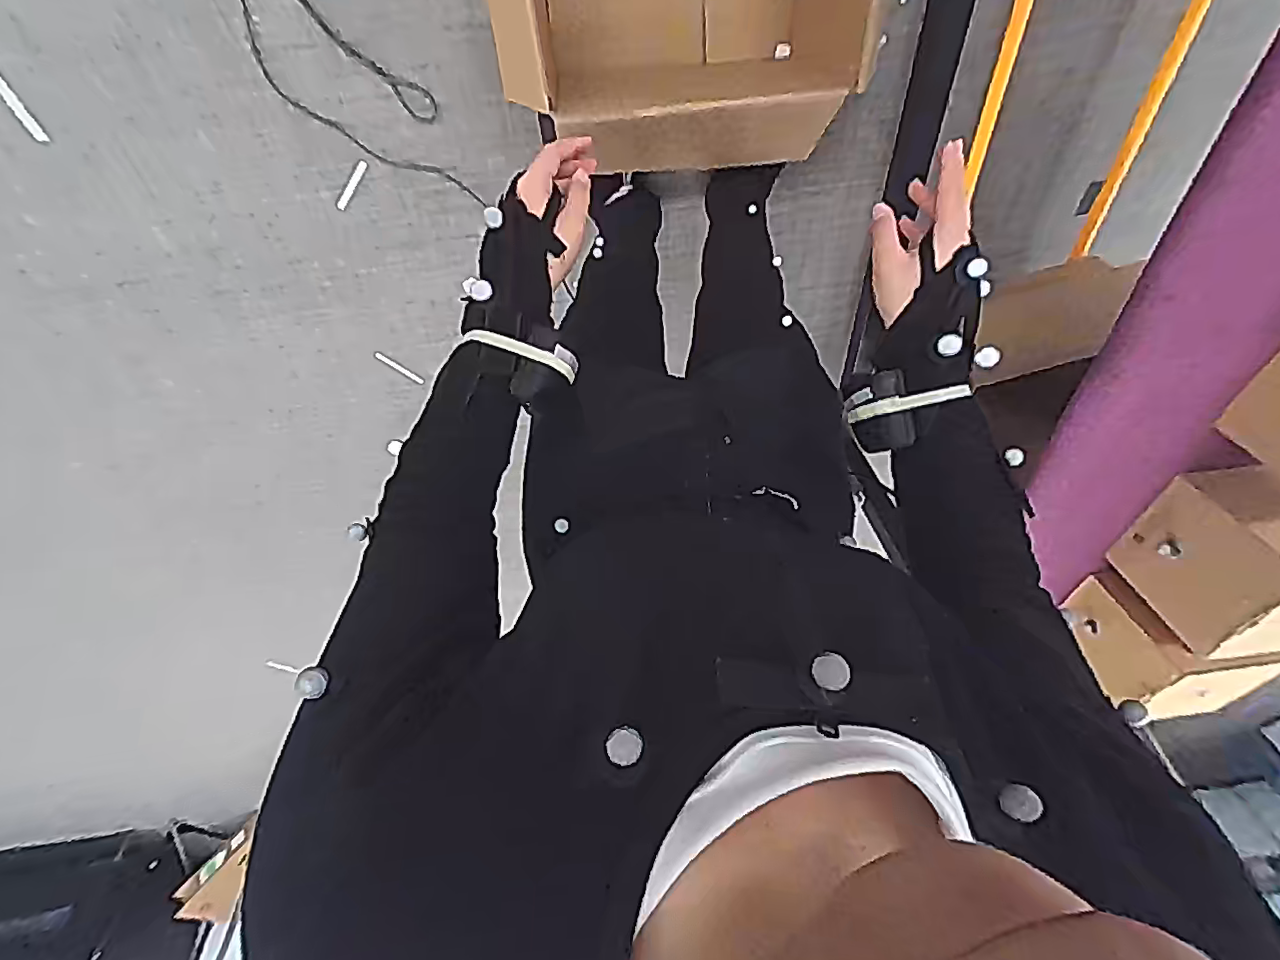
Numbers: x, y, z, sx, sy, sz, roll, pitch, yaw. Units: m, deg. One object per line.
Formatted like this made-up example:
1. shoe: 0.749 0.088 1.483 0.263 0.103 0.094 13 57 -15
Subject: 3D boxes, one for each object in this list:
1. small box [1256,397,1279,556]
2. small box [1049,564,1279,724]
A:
1. small box: 0.743 -0.026 0.522 0.168 0.176 0.179 12 140 41
2. small box: 0.782 0.241 0.811 0.179 0.176 0.168 -6 134 -4
